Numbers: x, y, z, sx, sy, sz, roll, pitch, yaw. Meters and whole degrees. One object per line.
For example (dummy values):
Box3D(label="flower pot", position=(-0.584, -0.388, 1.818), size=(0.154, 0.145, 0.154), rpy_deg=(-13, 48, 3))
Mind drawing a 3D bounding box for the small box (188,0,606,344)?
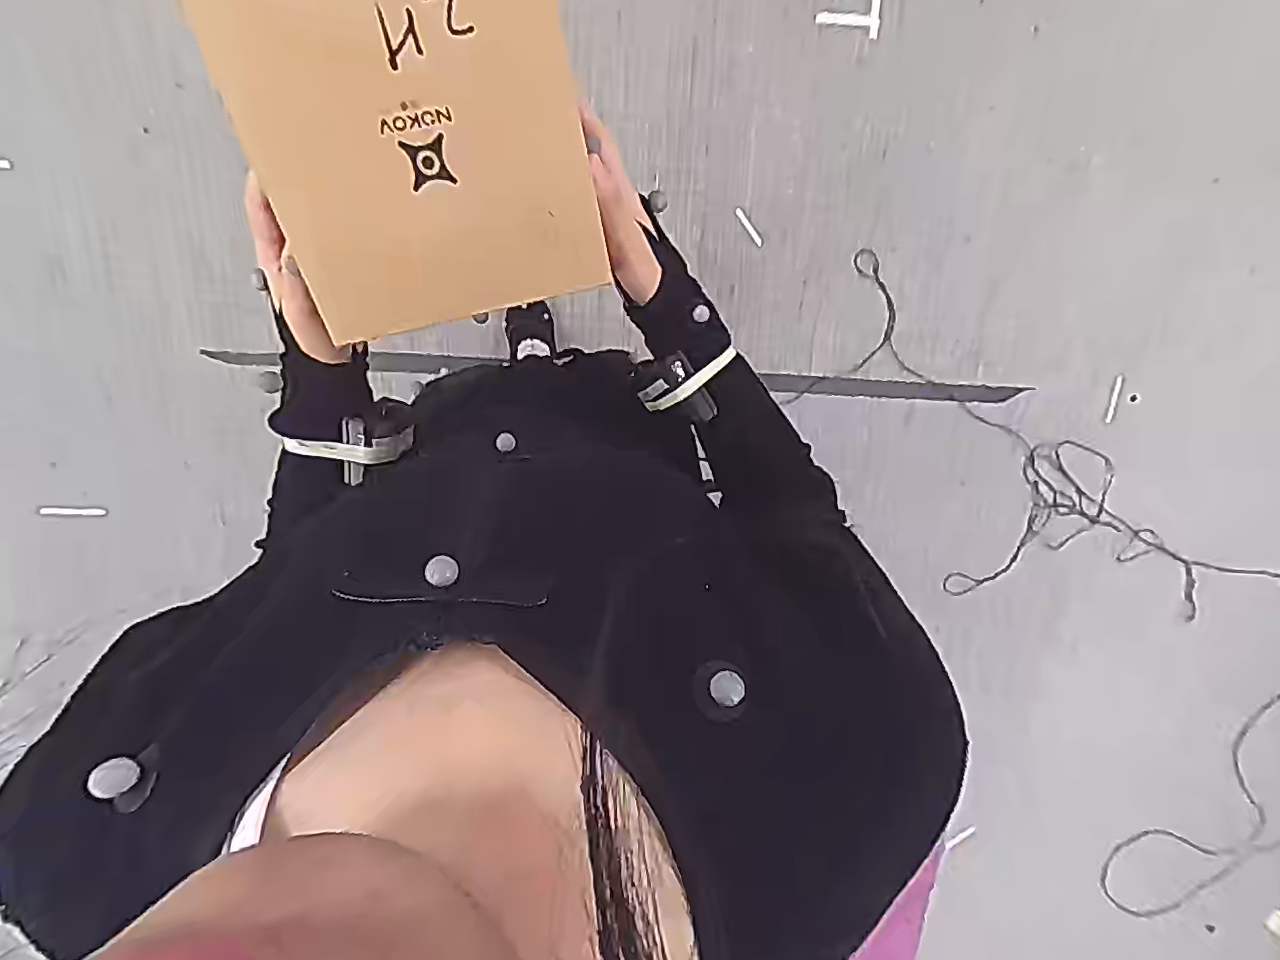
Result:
Box3D(label="small box", position=(-0.129, -0.206, 0.353), size=(0.168, 0.176, 0.179), rpy_deg=(-16, 117, -8))
